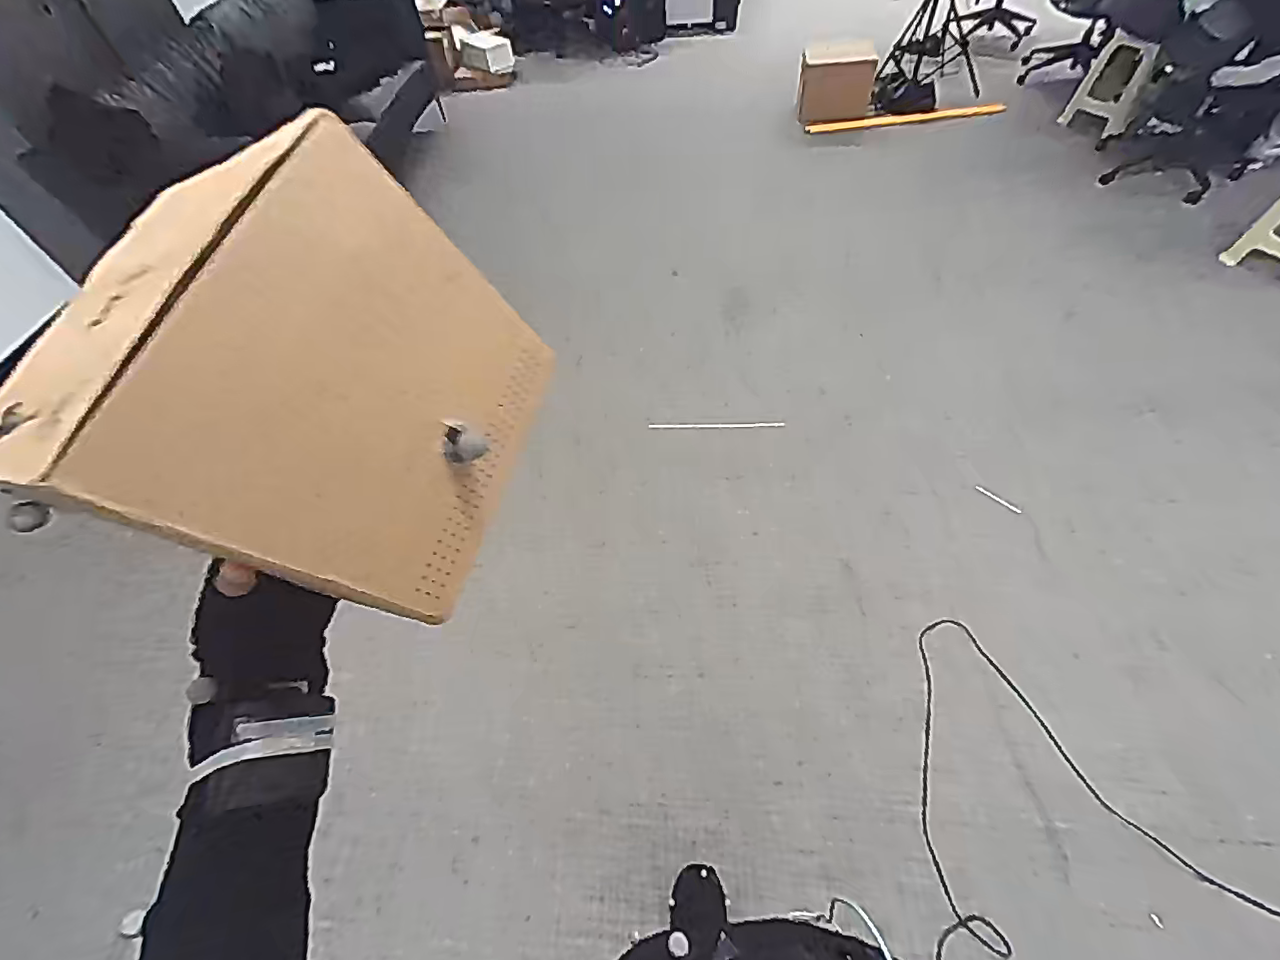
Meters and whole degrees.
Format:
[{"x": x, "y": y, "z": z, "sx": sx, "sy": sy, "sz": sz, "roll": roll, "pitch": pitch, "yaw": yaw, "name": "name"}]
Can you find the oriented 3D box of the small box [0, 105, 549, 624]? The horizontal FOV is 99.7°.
[{"x": -0.174, "y": -0.044, "z": 0.289, "sx": 0.168, "sy": 0.176, "sz": 0.179, "roll": 4, "pitch": 64, "yaw": 33, "name": "small box"}]
